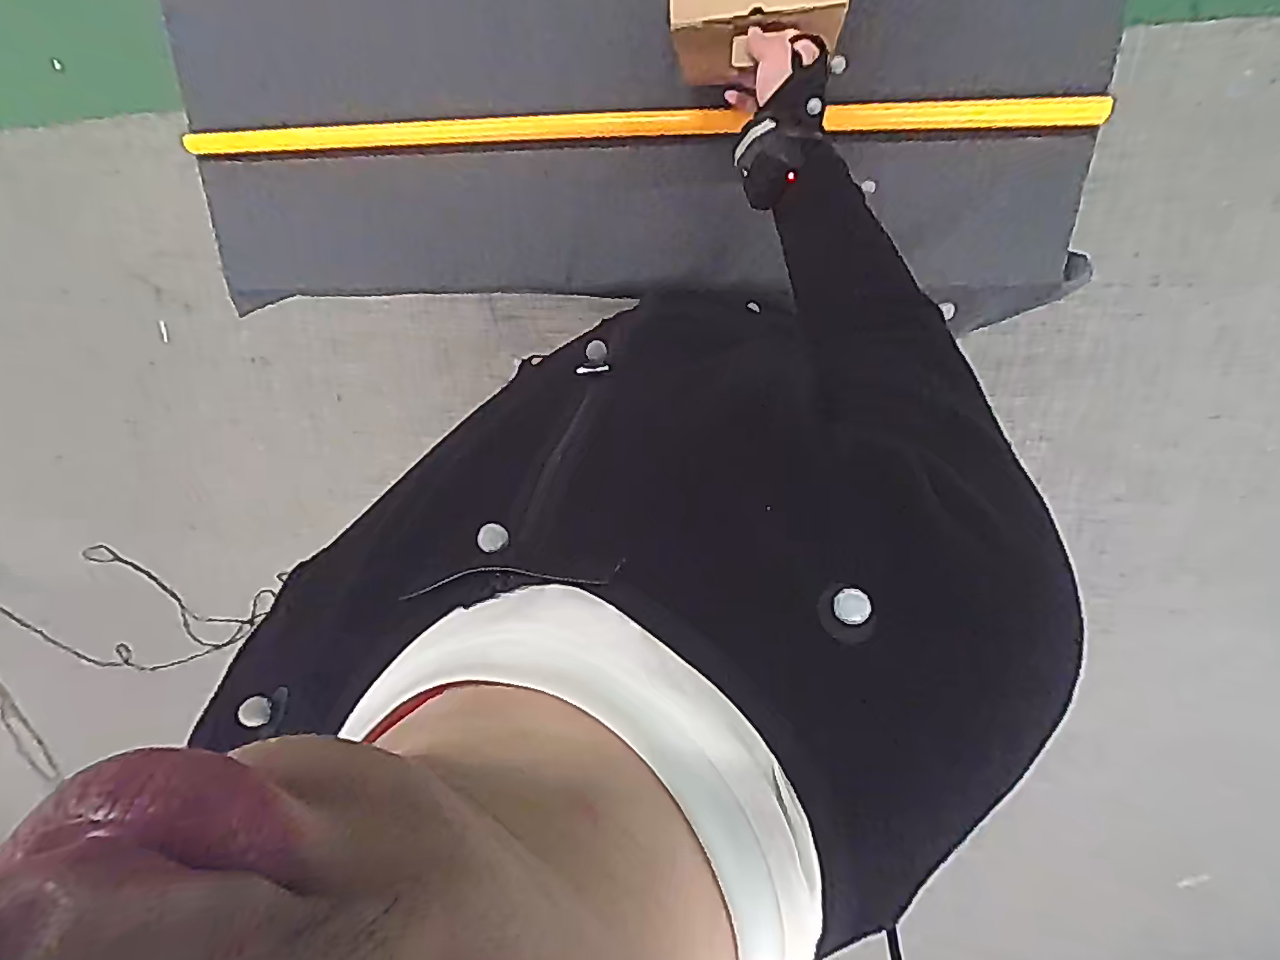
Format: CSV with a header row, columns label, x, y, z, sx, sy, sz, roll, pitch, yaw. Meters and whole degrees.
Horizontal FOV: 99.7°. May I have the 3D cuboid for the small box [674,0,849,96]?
label,x,y,z,sx,sy,sz,roll,pitch,yaw
small box,0.129,-0.531,0.565,0.168,0.176,0.179,1,108,14
